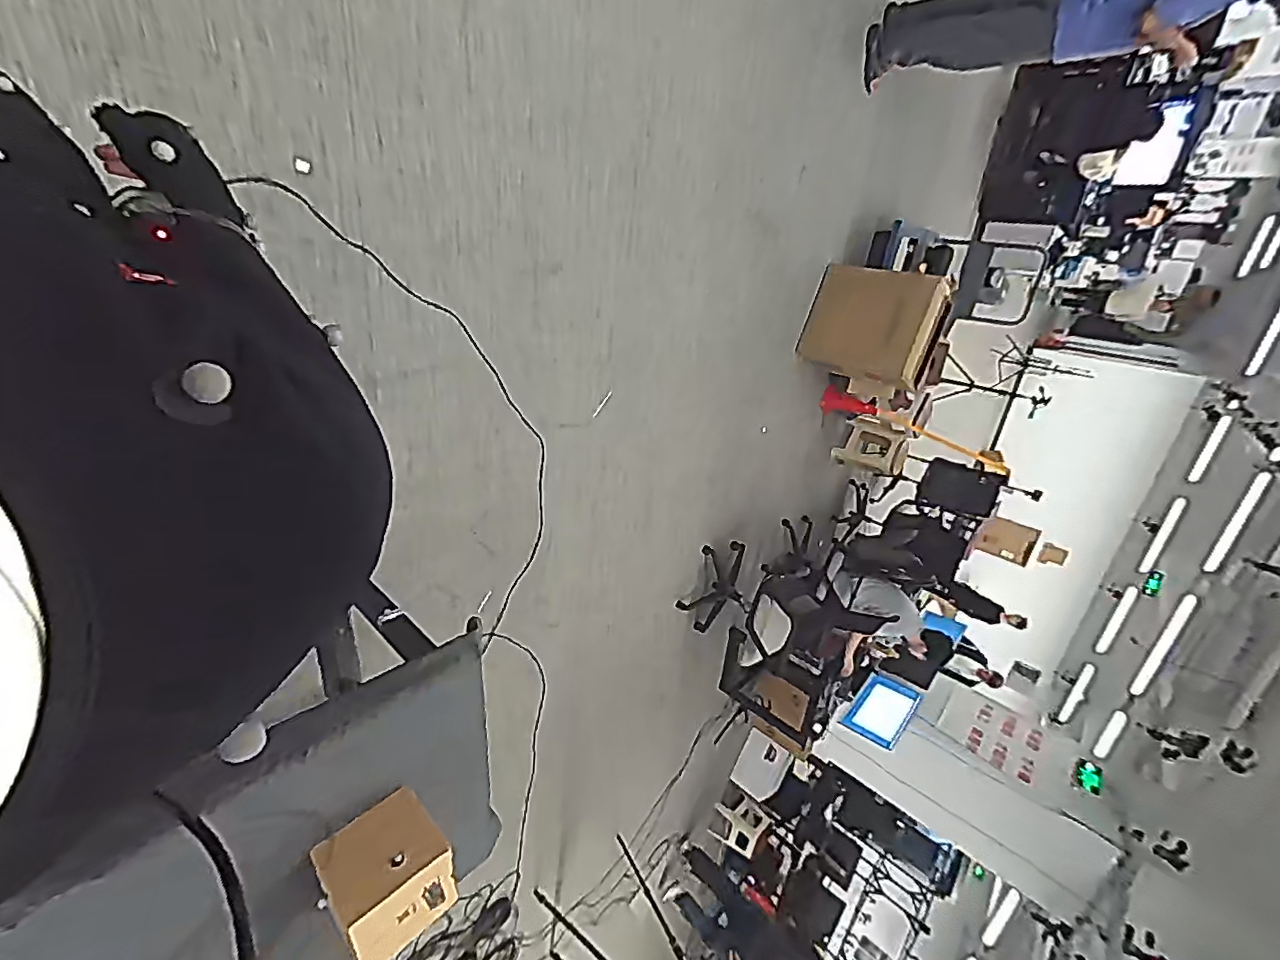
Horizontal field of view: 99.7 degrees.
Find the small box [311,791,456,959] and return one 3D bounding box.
[{"bbox_3d":[-0.459,0.715,0.977,0.179,0.176,0.168,-22,125,-42],"label":"small box"}]
